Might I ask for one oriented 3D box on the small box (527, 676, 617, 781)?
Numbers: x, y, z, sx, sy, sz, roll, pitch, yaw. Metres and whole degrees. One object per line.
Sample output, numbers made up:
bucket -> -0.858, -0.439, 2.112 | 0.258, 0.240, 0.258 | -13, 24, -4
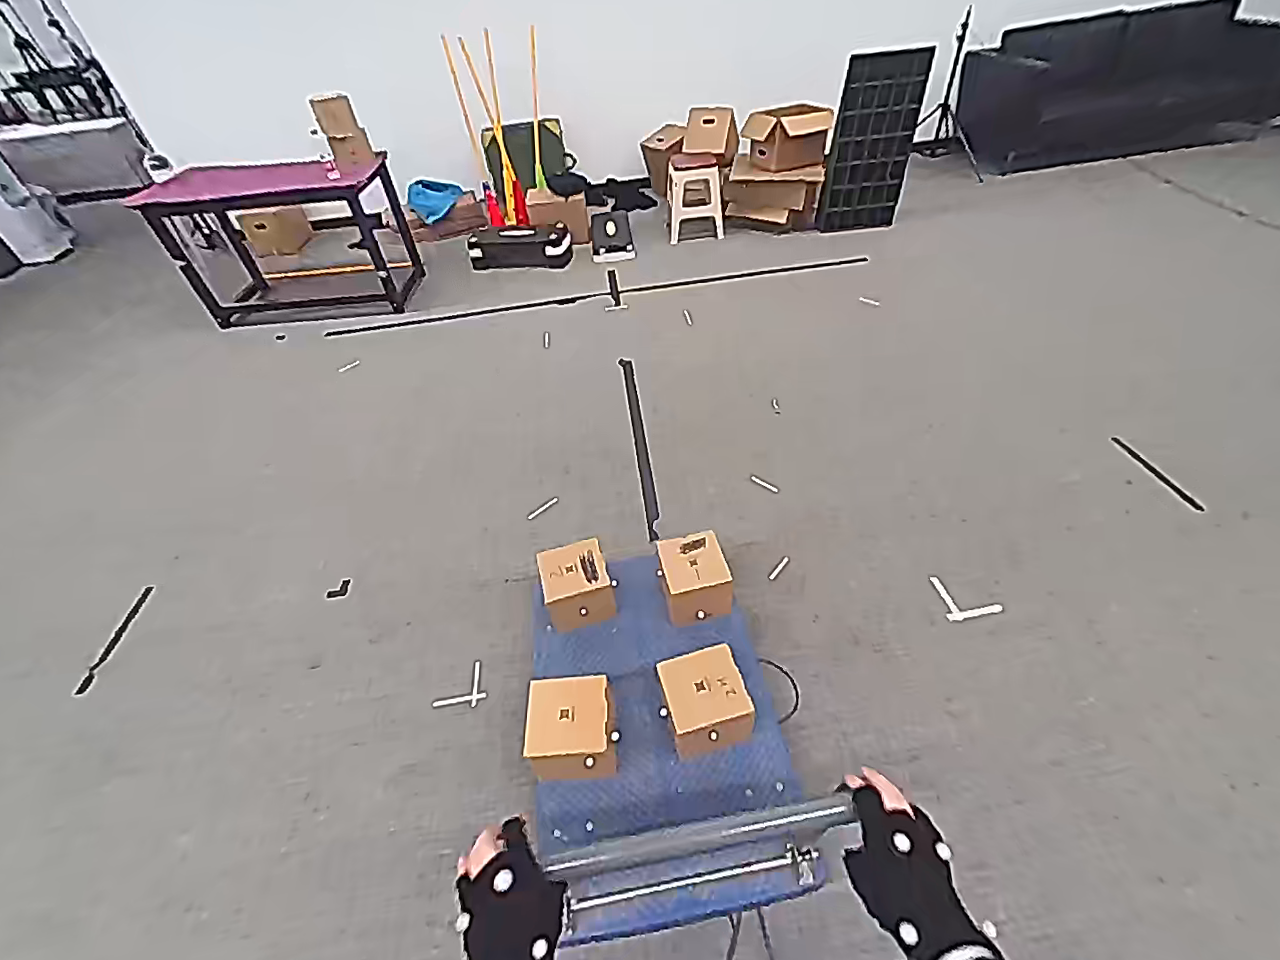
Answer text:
small box -> -0.148, 0.571, 1.235 | 0.179, 0.176, 0.168 | -5, 44, 0

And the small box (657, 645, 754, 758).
small box -> 0.150, 0.517, 1.252 | 0.179, 0.176, 0.168 | -14, 45, -7

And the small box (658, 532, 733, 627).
small box -> 0.149, 0.276, 1.493 | 0.168, 0.176, 0.179 | -12, 46, -5
